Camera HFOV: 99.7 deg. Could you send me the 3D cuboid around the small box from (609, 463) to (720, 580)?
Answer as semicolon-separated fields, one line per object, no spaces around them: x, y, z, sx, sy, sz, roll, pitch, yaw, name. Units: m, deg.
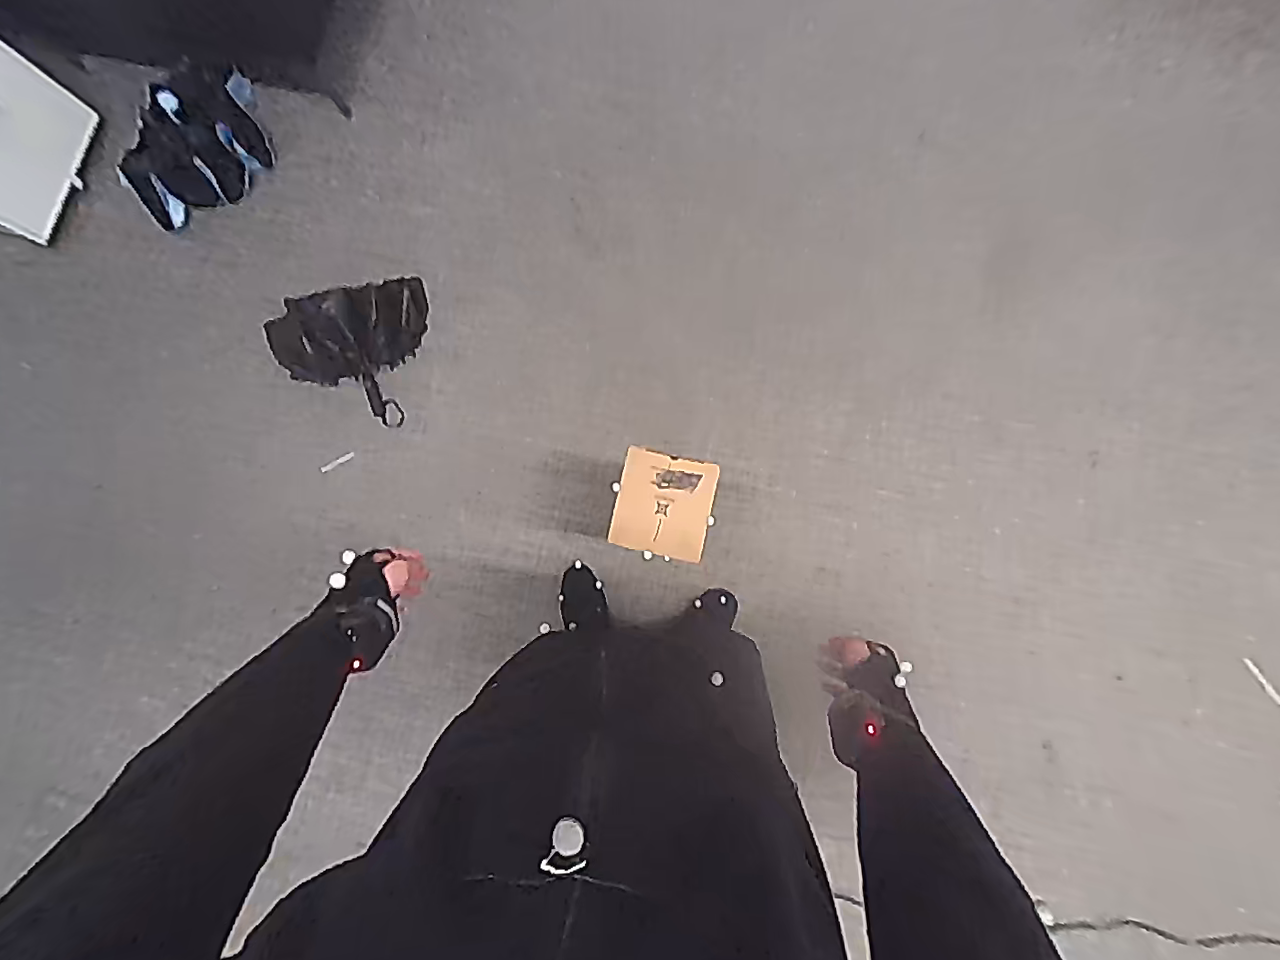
0.043;0.078;1.017;0.168;0.176;0.179;12;86;2;small box
